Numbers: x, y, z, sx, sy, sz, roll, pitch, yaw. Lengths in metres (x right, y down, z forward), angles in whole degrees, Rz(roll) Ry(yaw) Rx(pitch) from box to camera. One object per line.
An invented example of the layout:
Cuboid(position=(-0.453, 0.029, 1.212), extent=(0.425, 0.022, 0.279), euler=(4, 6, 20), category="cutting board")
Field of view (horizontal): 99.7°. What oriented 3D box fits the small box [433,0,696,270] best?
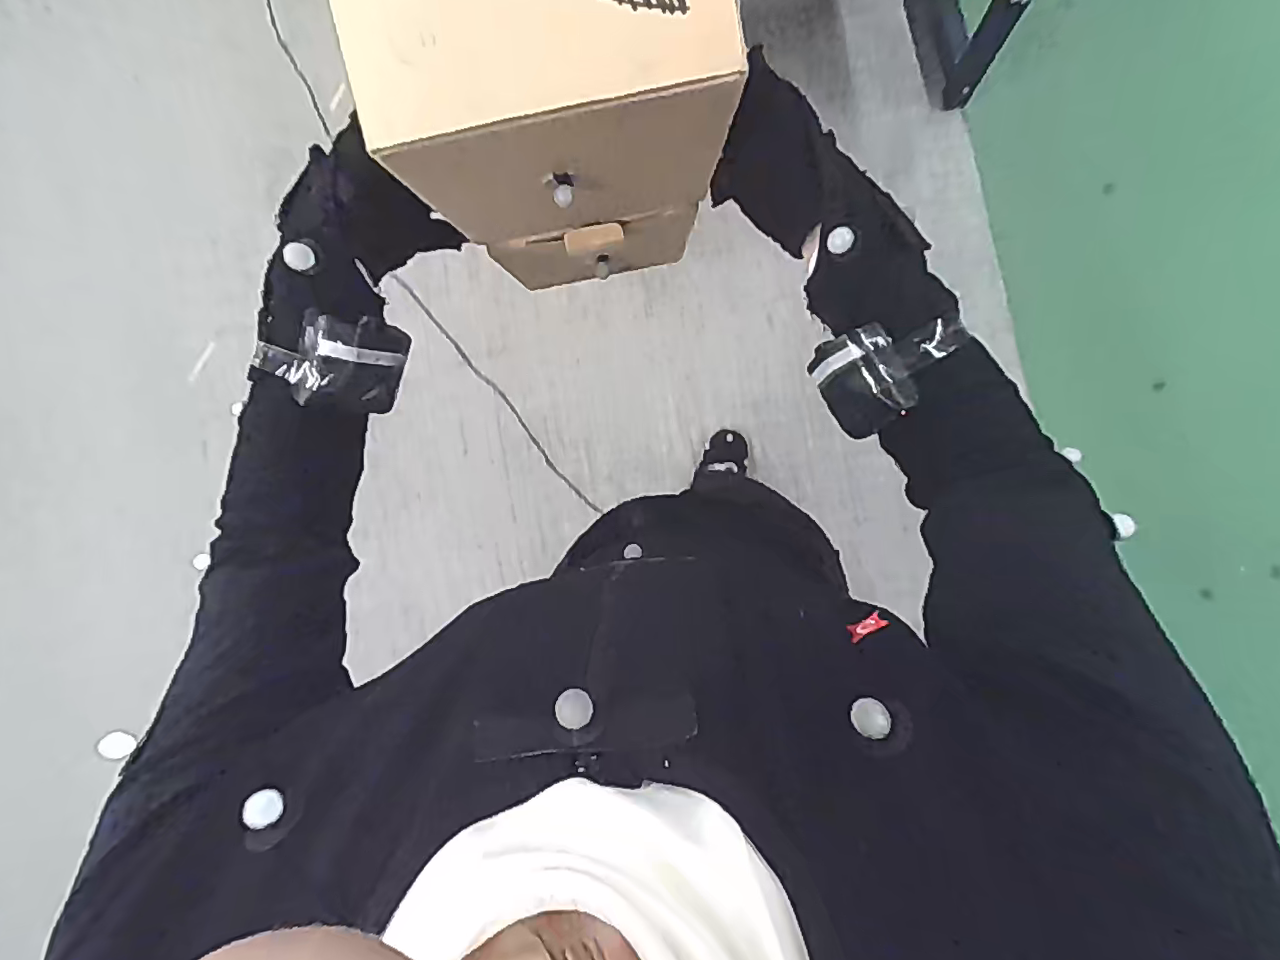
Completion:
Cuboid(position=(-0.051, -0.293, 0.468), extent=(0.168, 0.176, 0.179), euler=(-11, 100, 1), category="small box")
